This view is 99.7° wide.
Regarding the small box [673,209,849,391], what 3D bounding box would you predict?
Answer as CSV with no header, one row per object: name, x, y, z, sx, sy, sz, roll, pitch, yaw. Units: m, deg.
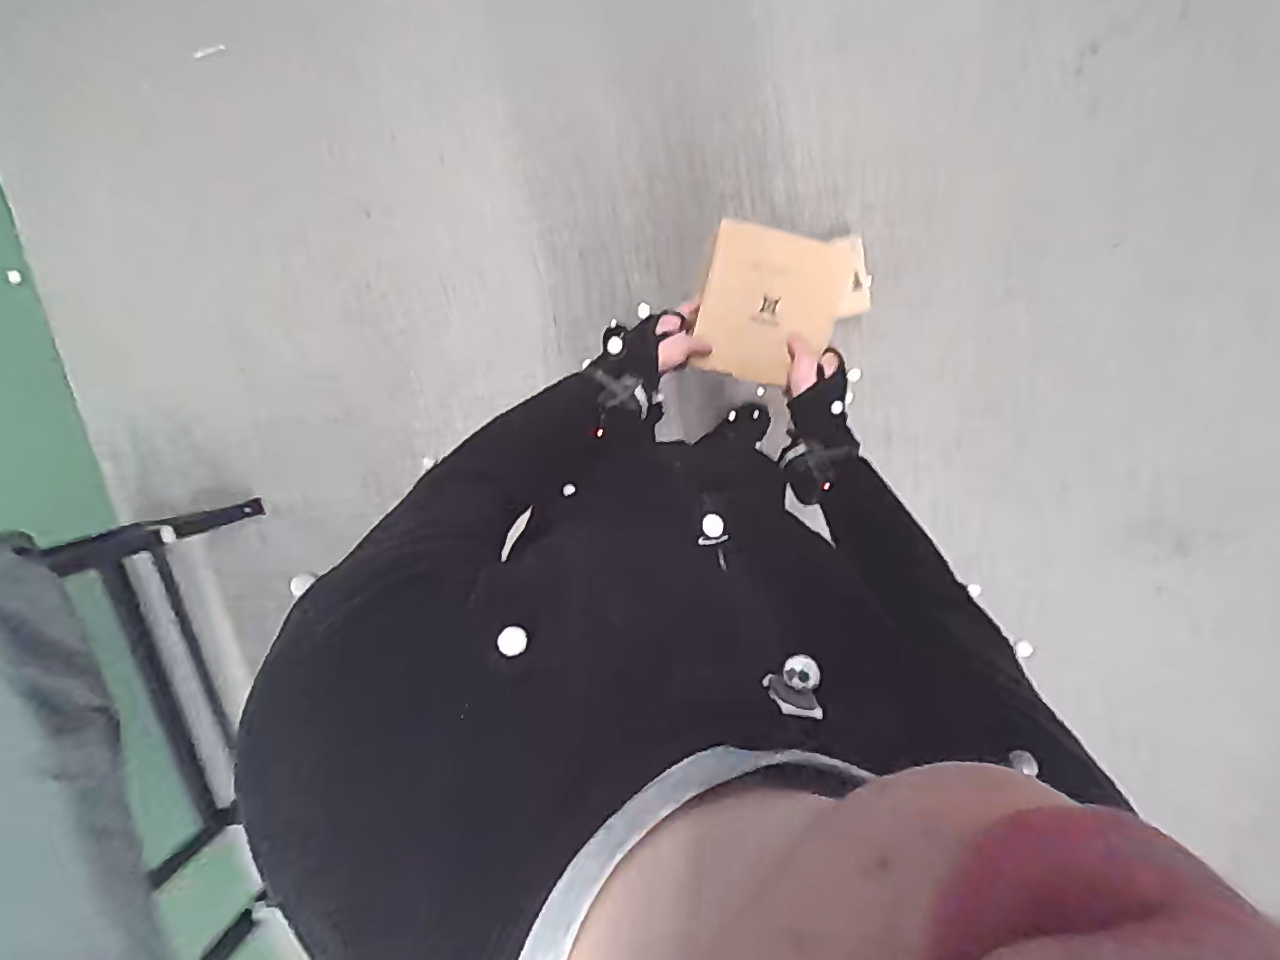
small box,0.142,-0.225,0.711,0.168,0.176,0.179,12,102,-4

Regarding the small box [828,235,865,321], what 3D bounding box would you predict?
small box,0.421,-0.461,1.289,0.179,0.176,0.168,-9,100,12
